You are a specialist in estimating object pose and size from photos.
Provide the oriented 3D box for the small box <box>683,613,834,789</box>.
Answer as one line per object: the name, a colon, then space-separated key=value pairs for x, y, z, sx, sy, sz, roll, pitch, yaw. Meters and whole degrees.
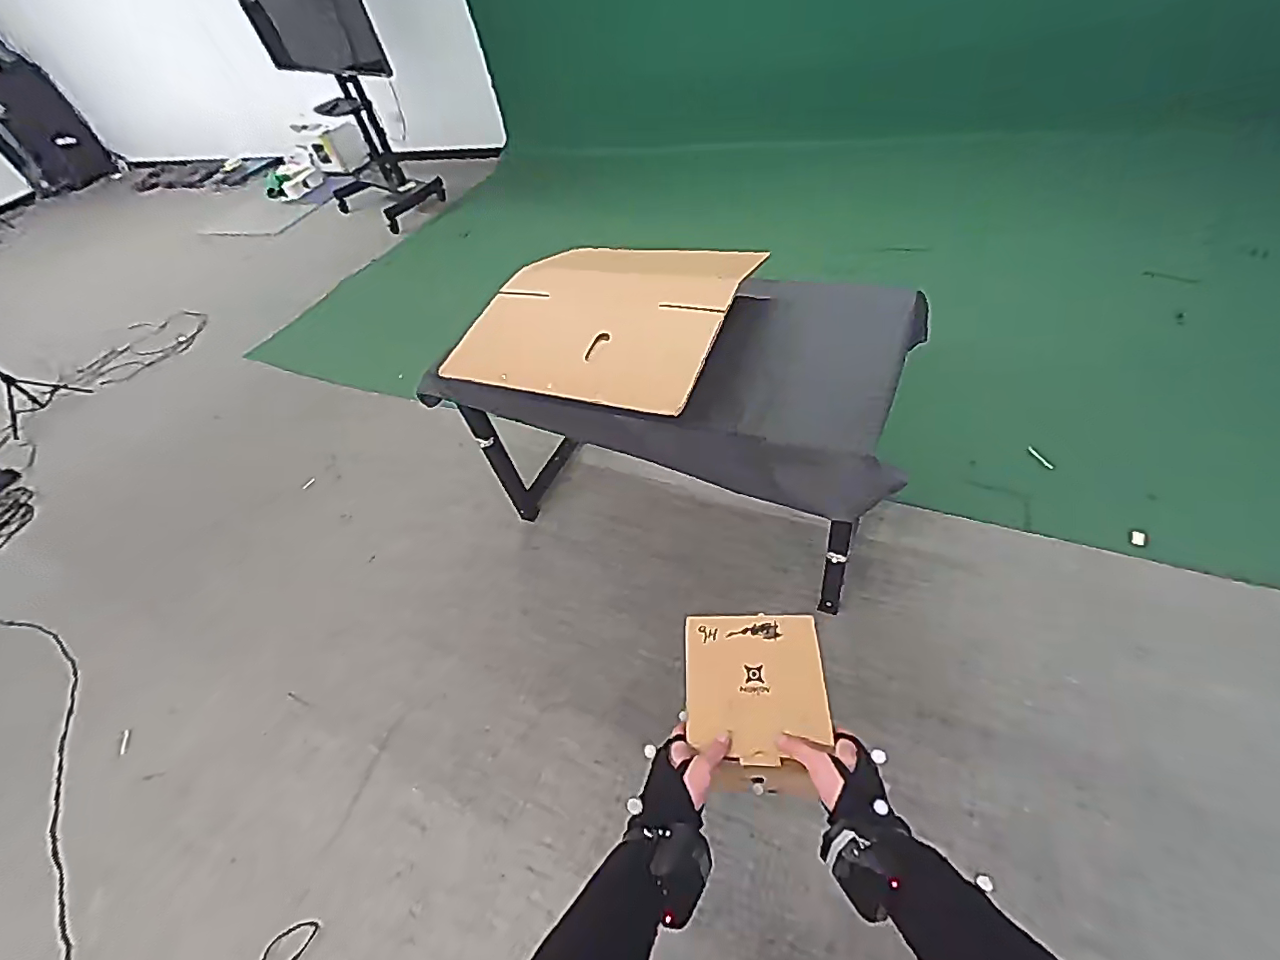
small box: x=0.148 y=0.297 z=0.715 sx=0.168 sy=0.176 sz=0.179 roll=-5 pitch=48 yaw=7
